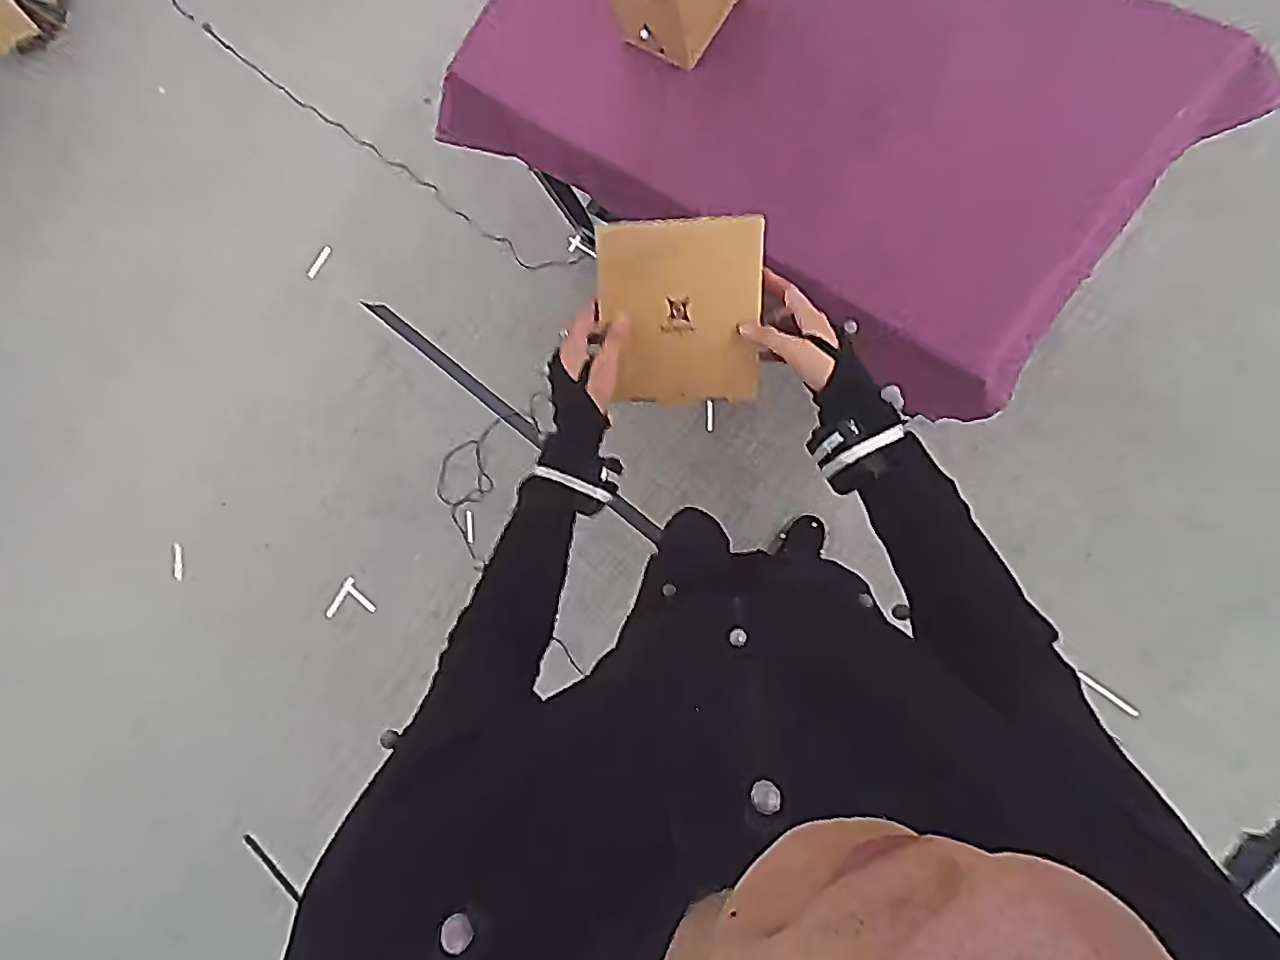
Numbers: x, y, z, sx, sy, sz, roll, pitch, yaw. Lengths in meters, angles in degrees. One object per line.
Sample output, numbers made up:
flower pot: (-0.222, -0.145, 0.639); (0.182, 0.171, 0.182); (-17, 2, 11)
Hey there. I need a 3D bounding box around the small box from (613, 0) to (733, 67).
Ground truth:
small box: (0.055, -0.867, 0.916); (0.168, 0.176, 0.179); (37, 96, 14)
